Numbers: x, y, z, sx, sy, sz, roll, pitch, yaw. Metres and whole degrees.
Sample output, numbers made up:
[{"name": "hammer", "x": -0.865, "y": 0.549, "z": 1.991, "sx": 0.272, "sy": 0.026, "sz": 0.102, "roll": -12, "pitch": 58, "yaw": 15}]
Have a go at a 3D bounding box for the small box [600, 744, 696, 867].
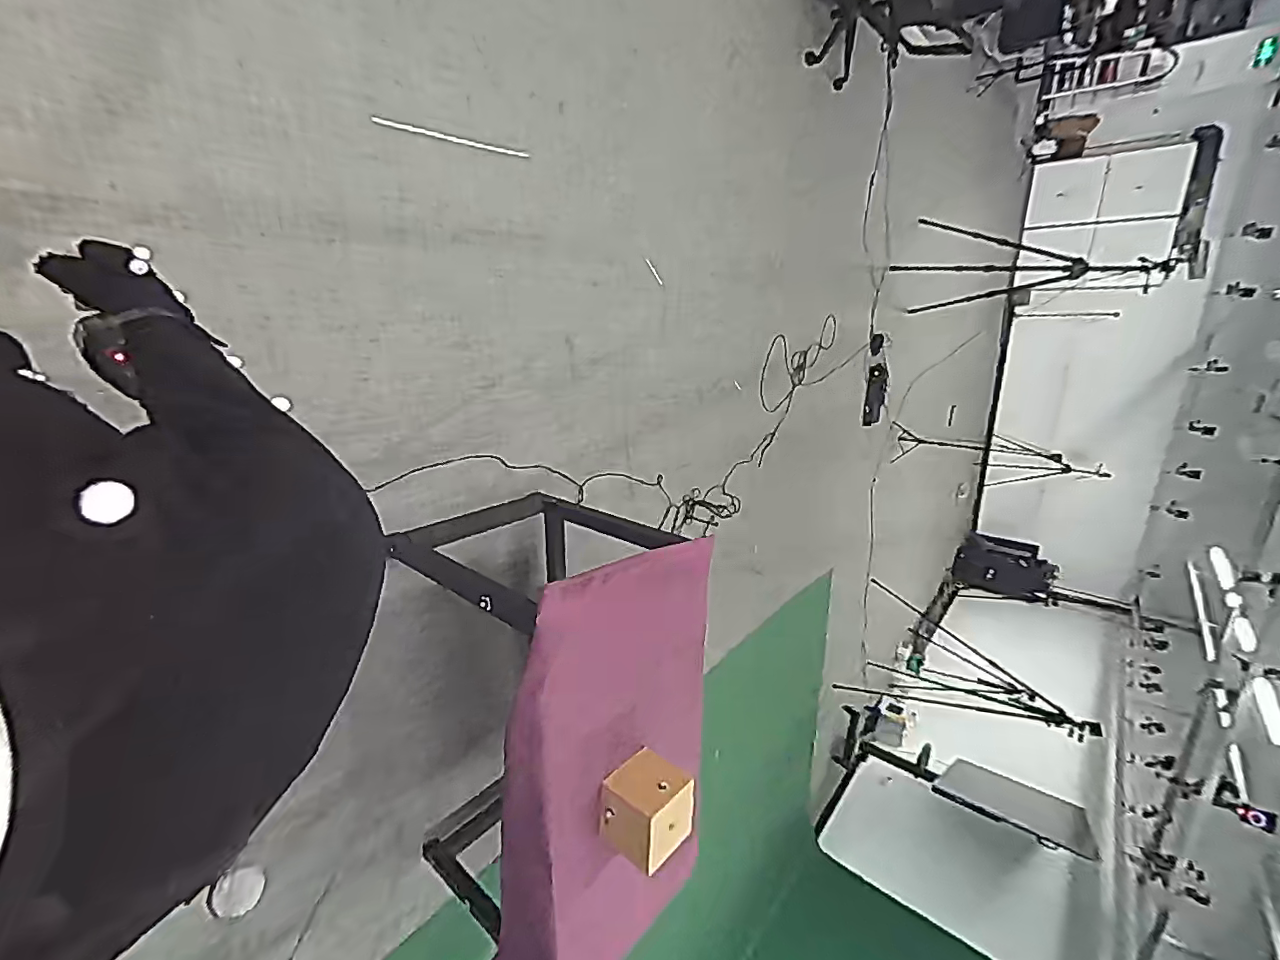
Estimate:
[{"name": "small box", "x": 0.021, "y": 0.811, "z": 1.369, "sx": 0.179, "sy": 0.176, "sz": 0.168, "roll": -12, "pitch": 109, "yaw": -48}]
